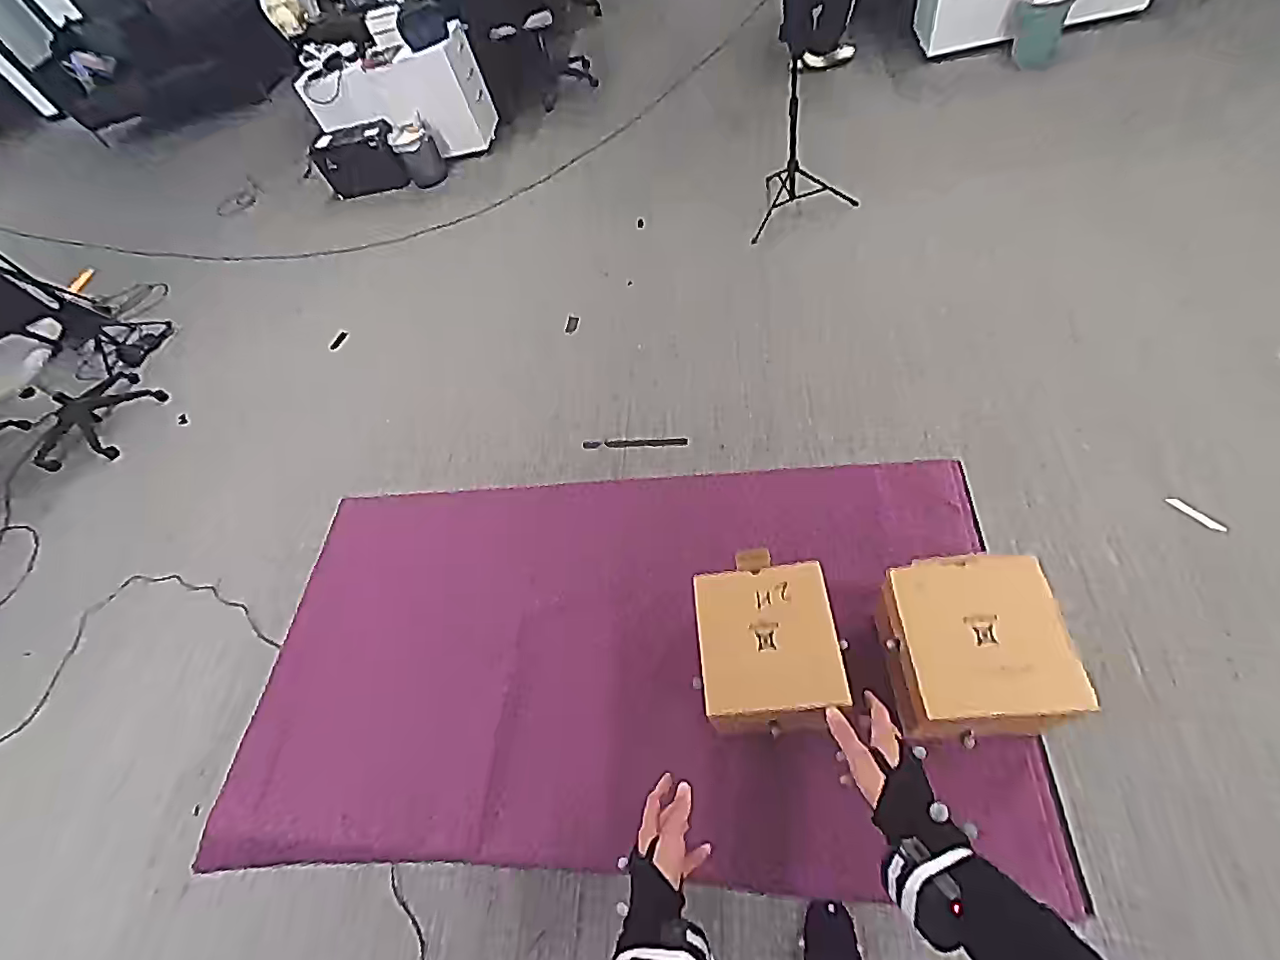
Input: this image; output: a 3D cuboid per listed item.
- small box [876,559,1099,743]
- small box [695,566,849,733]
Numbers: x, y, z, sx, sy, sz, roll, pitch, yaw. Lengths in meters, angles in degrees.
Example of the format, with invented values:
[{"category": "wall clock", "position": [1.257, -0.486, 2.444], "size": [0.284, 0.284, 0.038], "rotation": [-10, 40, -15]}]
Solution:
[{"category": "small box", "position": [0.404, 0.217, 0.672], "size": [0.168, 0.176, 0.179], "rotation": [-8, 56, 12]}, {"category": "small box", "position": [0.171, 0.235, 0.724], "size": [0.168, 0.176, 0.179], "rotation": [-9, 56, 10]}]
